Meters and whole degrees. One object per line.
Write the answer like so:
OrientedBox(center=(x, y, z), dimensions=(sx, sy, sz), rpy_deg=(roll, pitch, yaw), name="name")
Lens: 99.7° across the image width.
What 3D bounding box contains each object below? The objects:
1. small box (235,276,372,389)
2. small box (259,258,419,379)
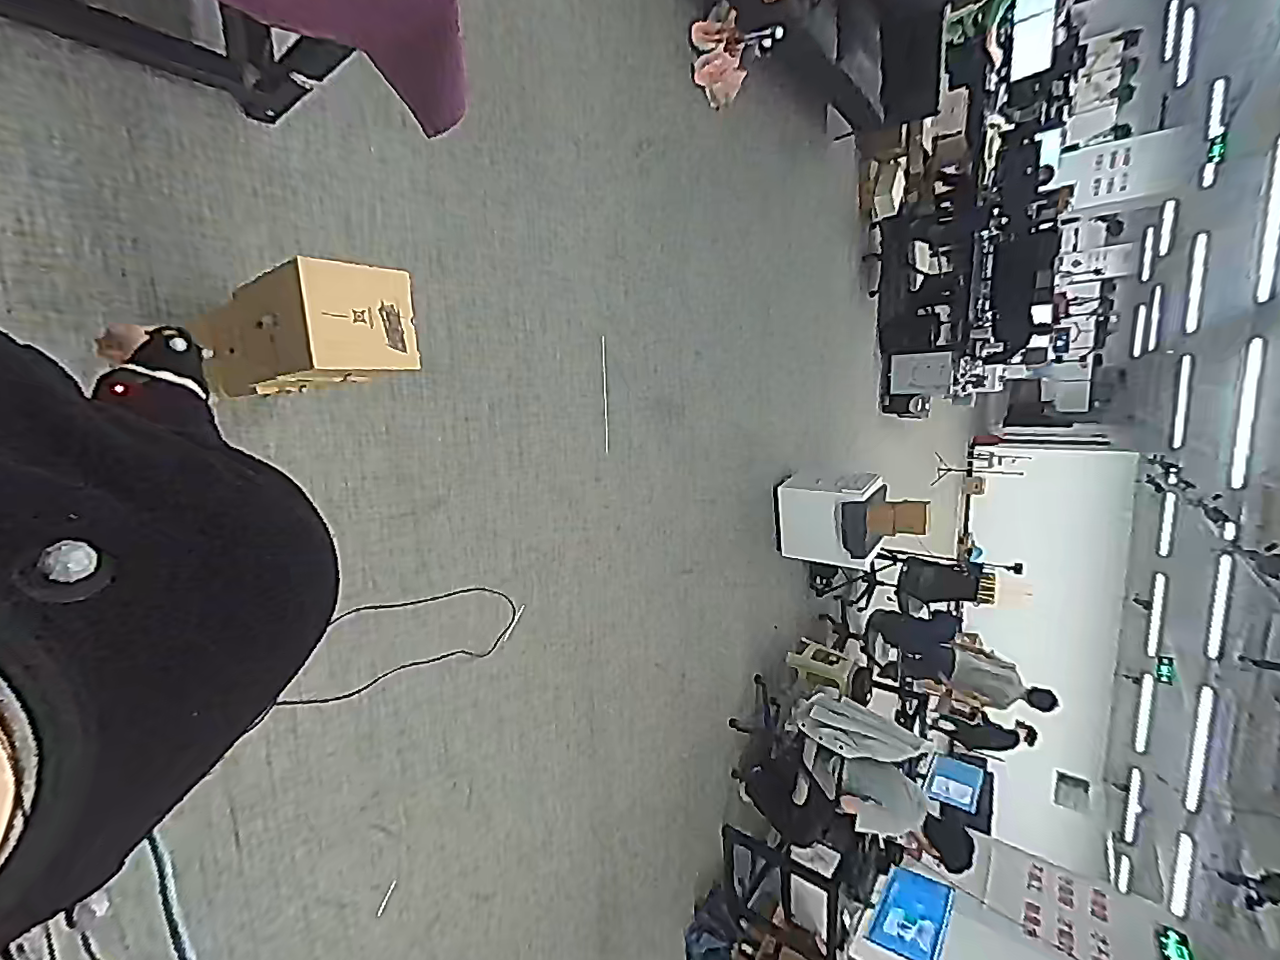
OrientedBox(center=(-0.635, -0.267, 1.019), dimensions=(0.168, 0.176, 0.179), rpy_deg=(-11, 102, -50), name="small box")
OrientedBox(center=(-0.507, -0.261, 0.916), dimensions=(0.179, 0.176, 0.168), rpy_deg=(-14, 103, -50), name="small box")
